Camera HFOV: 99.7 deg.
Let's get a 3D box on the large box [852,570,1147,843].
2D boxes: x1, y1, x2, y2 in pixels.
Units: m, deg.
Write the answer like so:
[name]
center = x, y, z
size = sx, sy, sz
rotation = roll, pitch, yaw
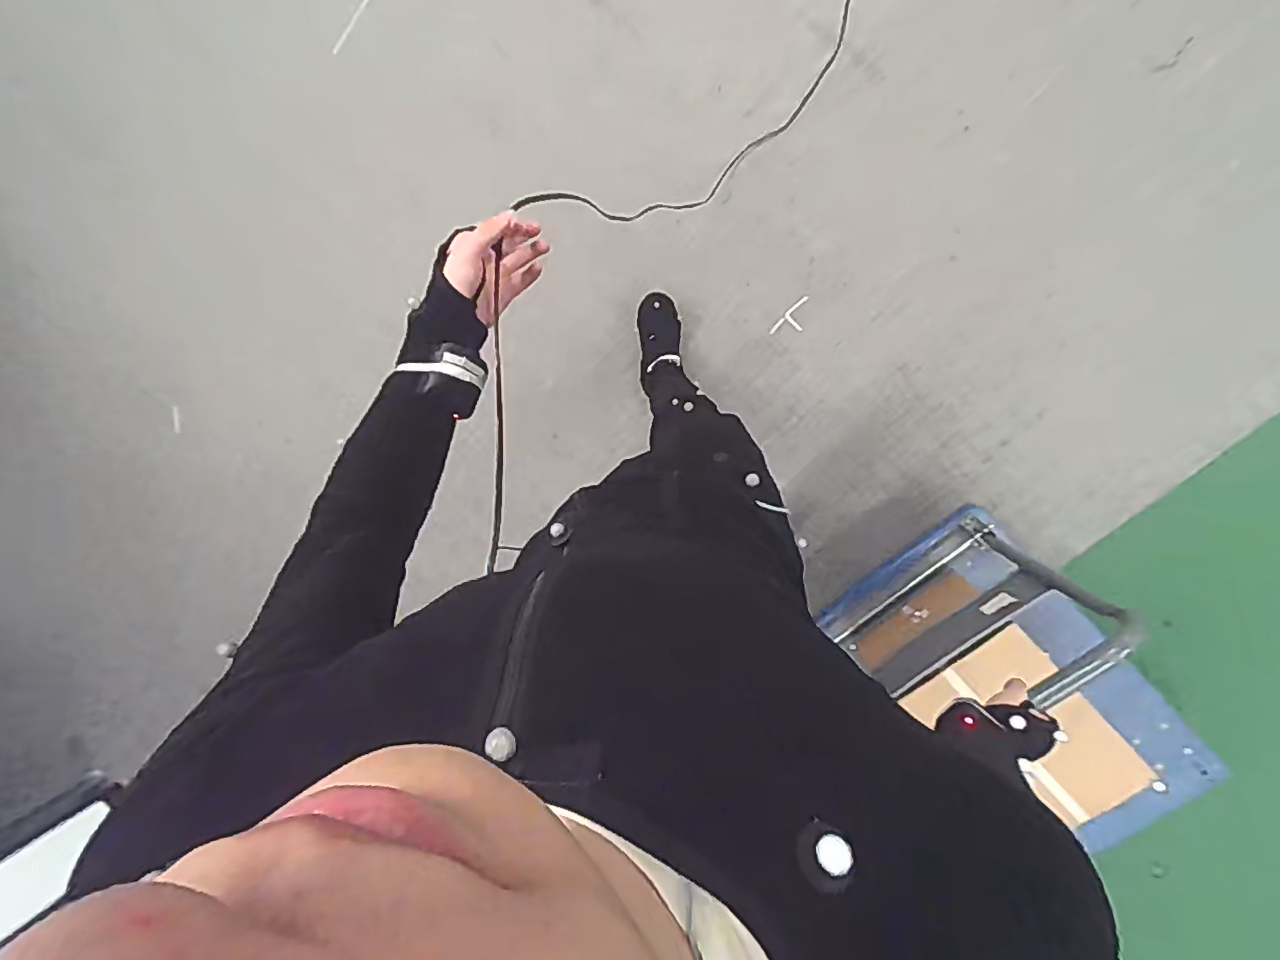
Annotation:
[large box]
center = 0.758, 0.481, 1.219
size = 0.320, 0.320, 0.408
rotation = -43, 89, 15
